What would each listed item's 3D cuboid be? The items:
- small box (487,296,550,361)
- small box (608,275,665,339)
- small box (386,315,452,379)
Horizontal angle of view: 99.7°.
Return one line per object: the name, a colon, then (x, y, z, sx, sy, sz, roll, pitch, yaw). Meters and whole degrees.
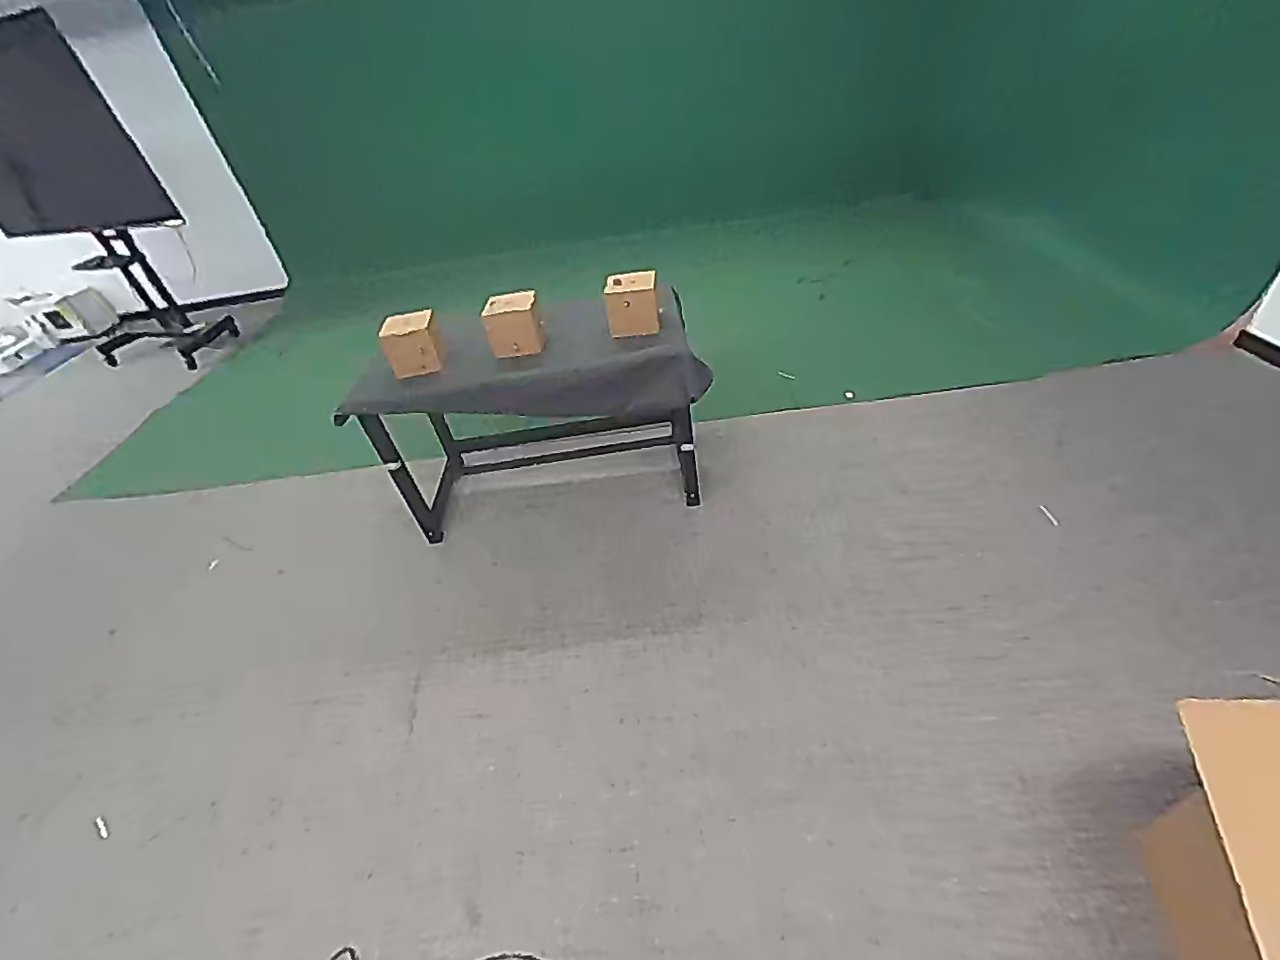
small box: (-0.434, -0.552, 1.974, 0.179, 0.176, 0.168, -6, 40, 5)
small box: (-0.009, -0.623, 1.959, 0.179, 0.176, 0.168, -3, 40, 8)
small box: (-0.797, -0.479, 1.971, 0.168, 0.176, 0.179, -12, 37, -4)
